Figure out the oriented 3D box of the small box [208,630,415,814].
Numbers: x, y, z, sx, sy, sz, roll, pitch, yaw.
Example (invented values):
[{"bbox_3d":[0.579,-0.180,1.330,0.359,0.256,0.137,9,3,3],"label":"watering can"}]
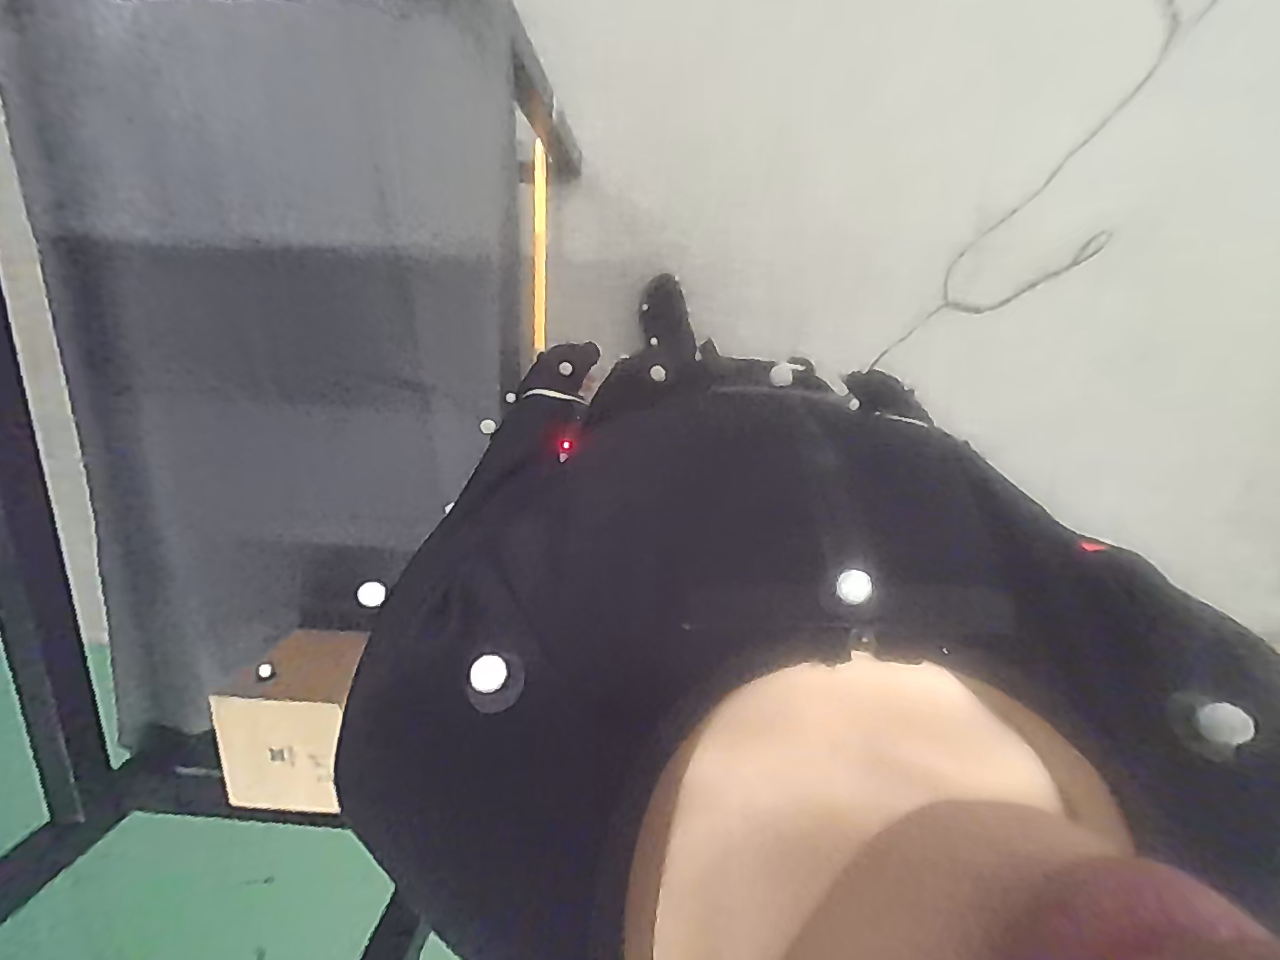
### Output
[{"bbox_3d":[-0.442,0.324,0.755,0.179,0.176,0.168,2,104,4],"label":"small box"}]
